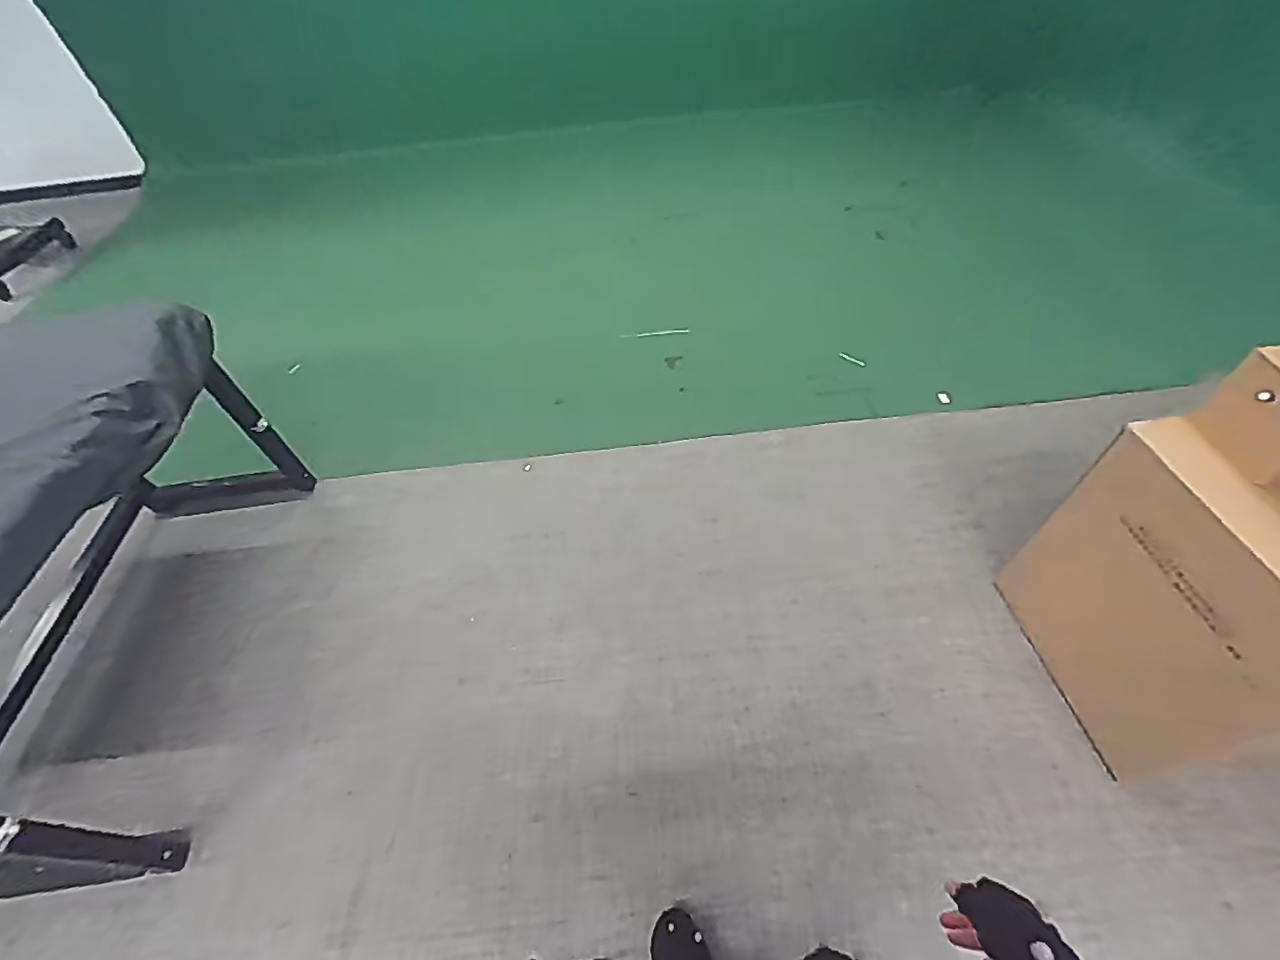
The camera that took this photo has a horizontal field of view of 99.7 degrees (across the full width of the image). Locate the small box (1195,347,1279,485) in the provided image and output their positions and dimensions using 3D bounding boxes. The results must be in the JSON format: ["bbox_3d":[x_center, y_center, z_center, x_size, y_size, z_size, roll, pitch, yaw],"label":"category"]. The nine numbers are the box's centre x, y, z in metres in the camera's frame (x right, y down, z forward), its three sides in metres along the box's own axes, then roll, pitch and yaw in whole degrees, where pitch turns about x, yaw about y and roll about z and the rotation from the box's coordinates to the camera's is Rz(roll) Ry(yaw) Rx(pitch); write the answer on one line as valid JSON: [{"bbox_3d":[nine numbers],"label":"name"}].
[{"bbox_3d":[1.138,-0.115,0.927,0.168,0.176,0.179,-7,51,3],"label":"small box"}]
